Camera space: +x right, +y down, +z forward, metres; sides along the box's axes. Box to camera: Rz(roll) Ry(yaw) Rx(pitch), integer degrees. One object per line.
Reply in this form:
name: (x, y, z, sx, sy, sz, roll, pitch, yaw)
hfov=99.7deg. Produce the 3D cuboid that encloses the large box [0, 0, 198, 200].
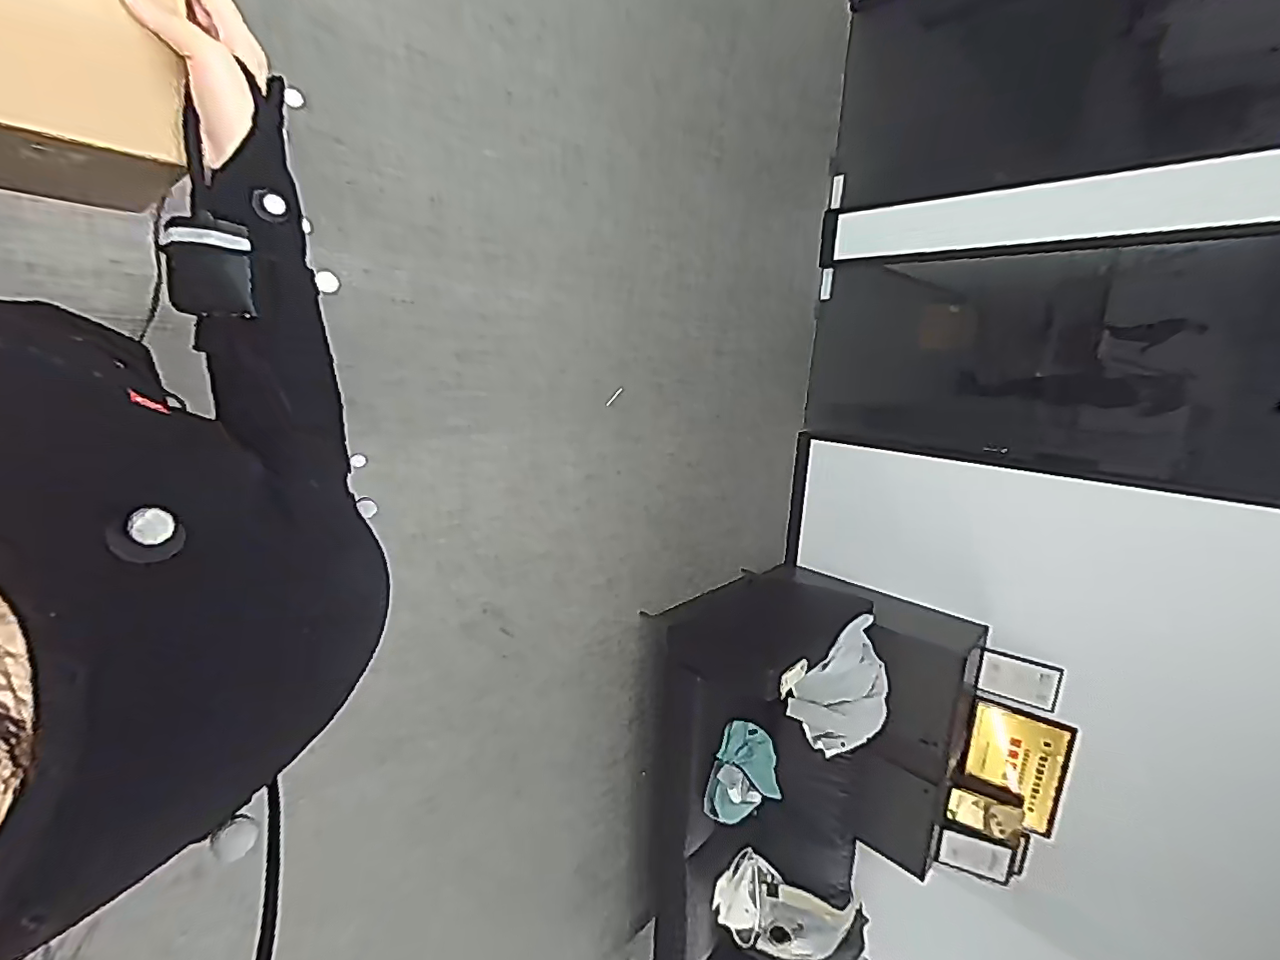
large box: (-0.552, -0.384, 0.302, 0.408, 0.320, 0.320, -11, 112, -48)
